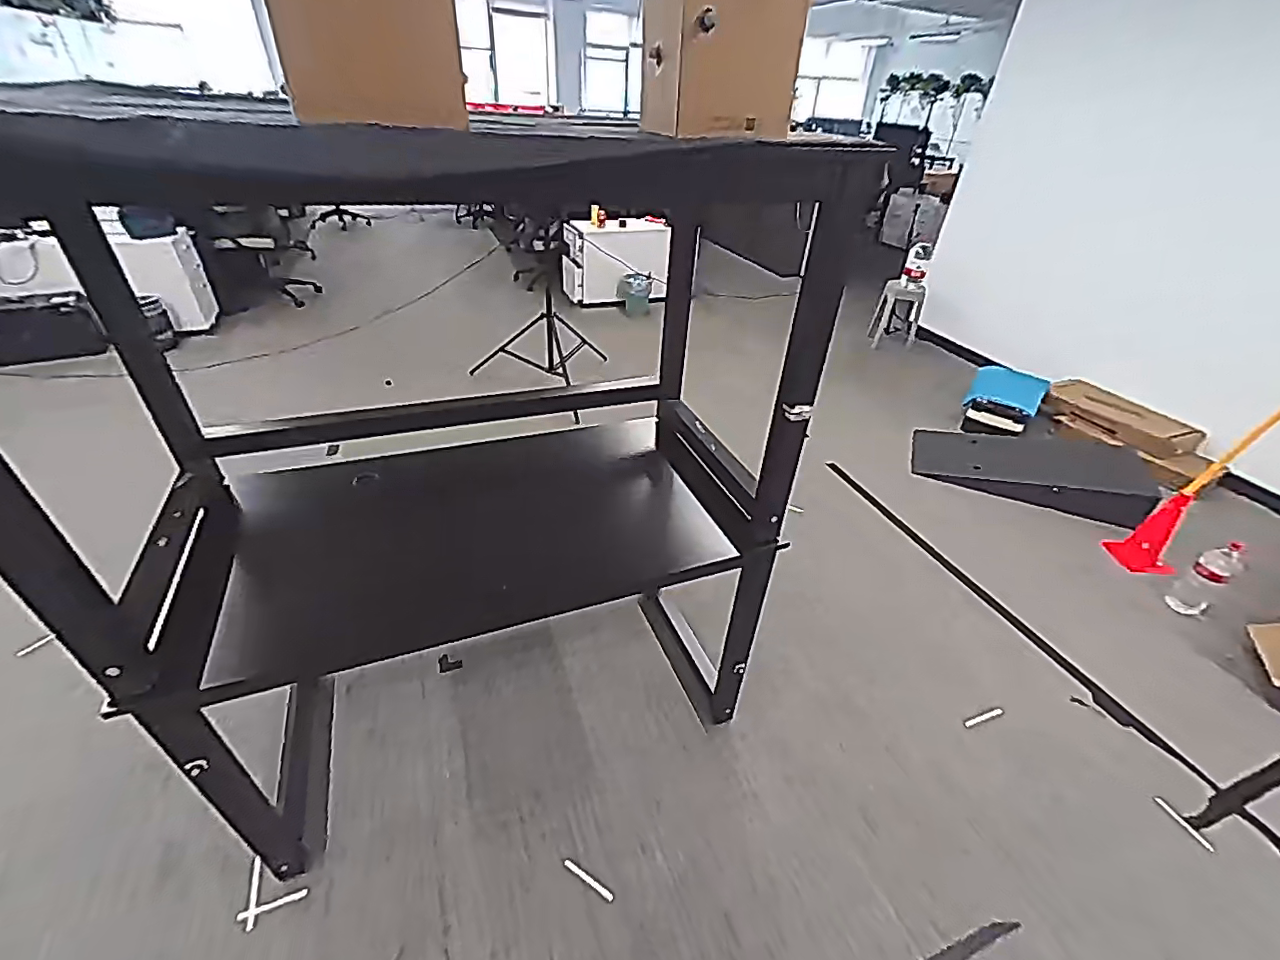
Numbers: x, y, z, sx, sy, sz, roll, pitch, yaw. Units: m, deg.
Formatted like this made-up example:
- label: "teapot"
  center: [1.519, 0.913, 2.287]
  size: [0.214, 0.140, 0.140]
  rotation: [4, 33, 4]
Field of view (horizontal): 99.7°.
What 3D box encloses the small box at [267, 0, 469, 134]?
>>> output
- label: "small box"
  center: [-0.301, -0.487, 0.600]
  size: [0.179, 0.176, 0.168]
  rotation: [-12, 37, -22]
